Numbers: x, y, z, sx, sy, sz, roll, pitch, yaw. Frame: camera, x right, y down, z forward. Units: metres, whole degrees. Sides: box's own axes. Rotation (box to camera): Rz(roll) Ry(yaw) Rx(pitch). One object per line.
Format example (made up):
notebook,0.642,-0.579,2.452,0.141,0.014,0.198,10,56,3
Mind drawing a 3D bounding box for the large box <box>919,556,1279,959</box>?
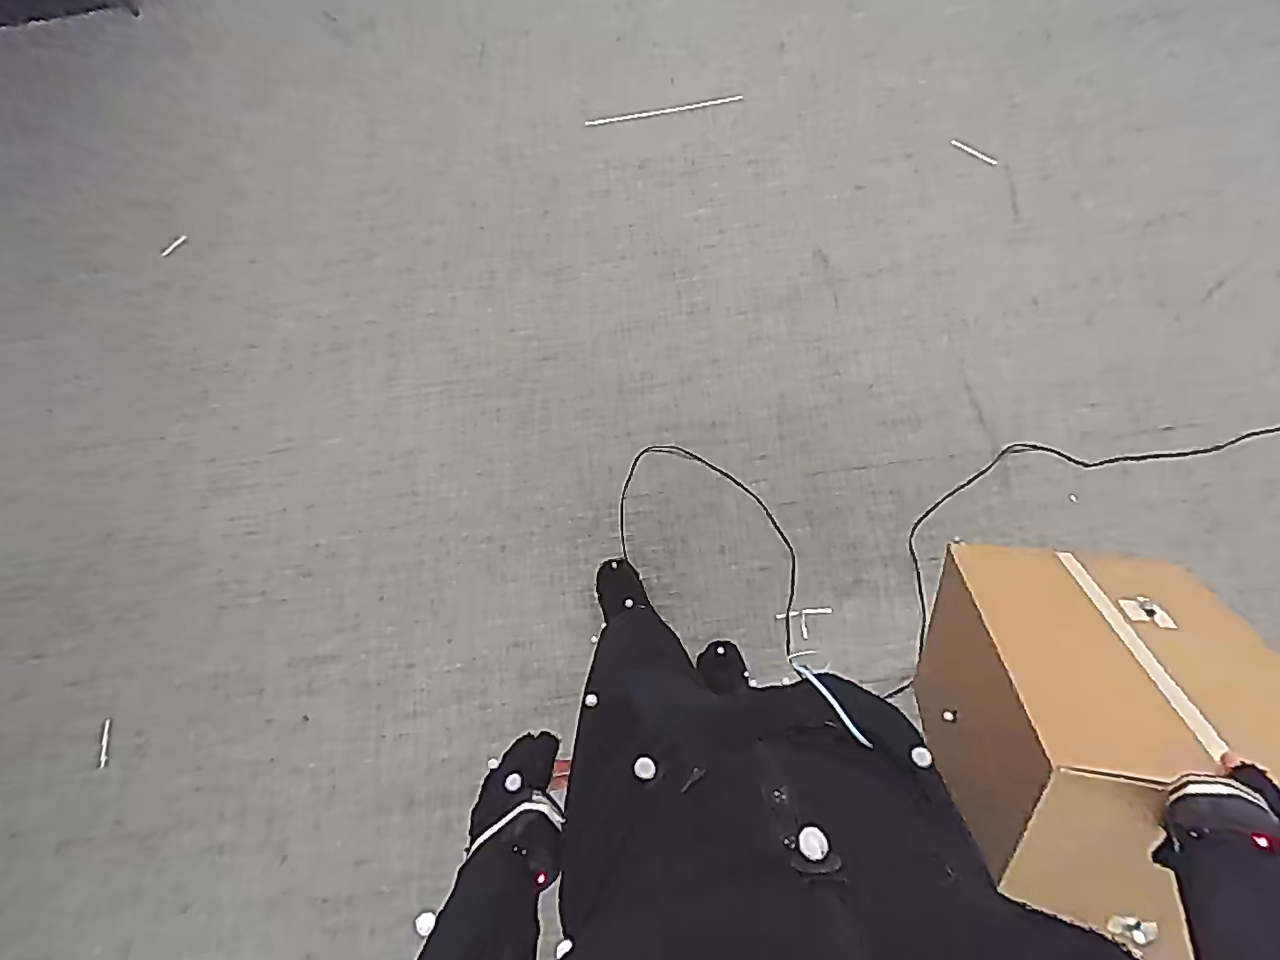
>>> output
large box,0.605,0.350,0.727,0.320,0.408,0.320,5,116,13
